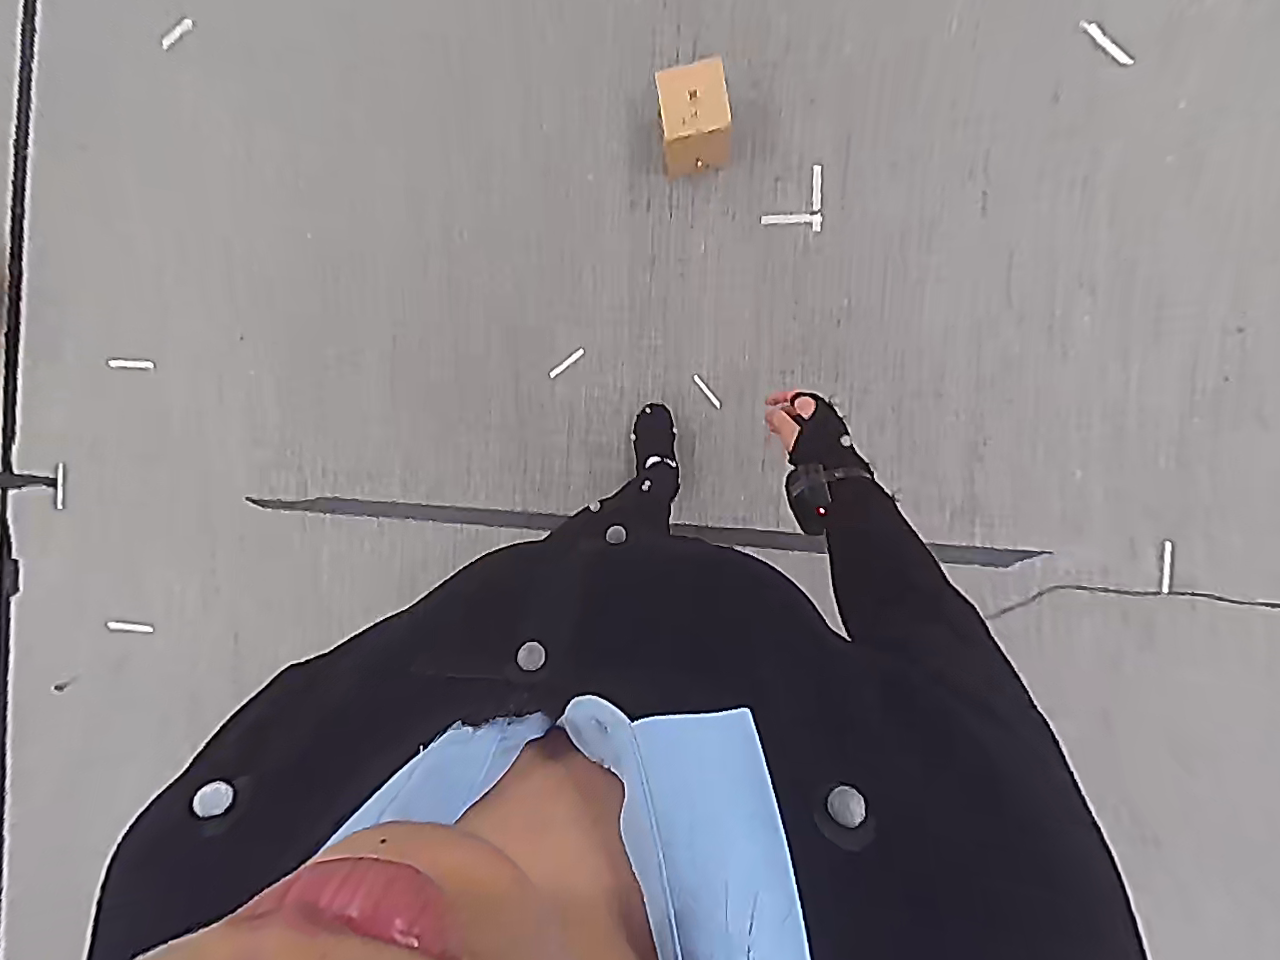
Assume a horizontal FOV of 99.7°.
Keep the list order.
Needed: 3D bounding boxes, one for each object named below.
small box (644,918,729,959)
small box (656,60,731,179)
[{"bbox_3d":[0.085,0.996,1.030,0.168,0.176,0.179,3,89,6],"label":"small box"},{"bbox_3d":[0.136,-0.917,1.389,0.168,0.176,0.179,-9,89,6],"label":"small box"}]
